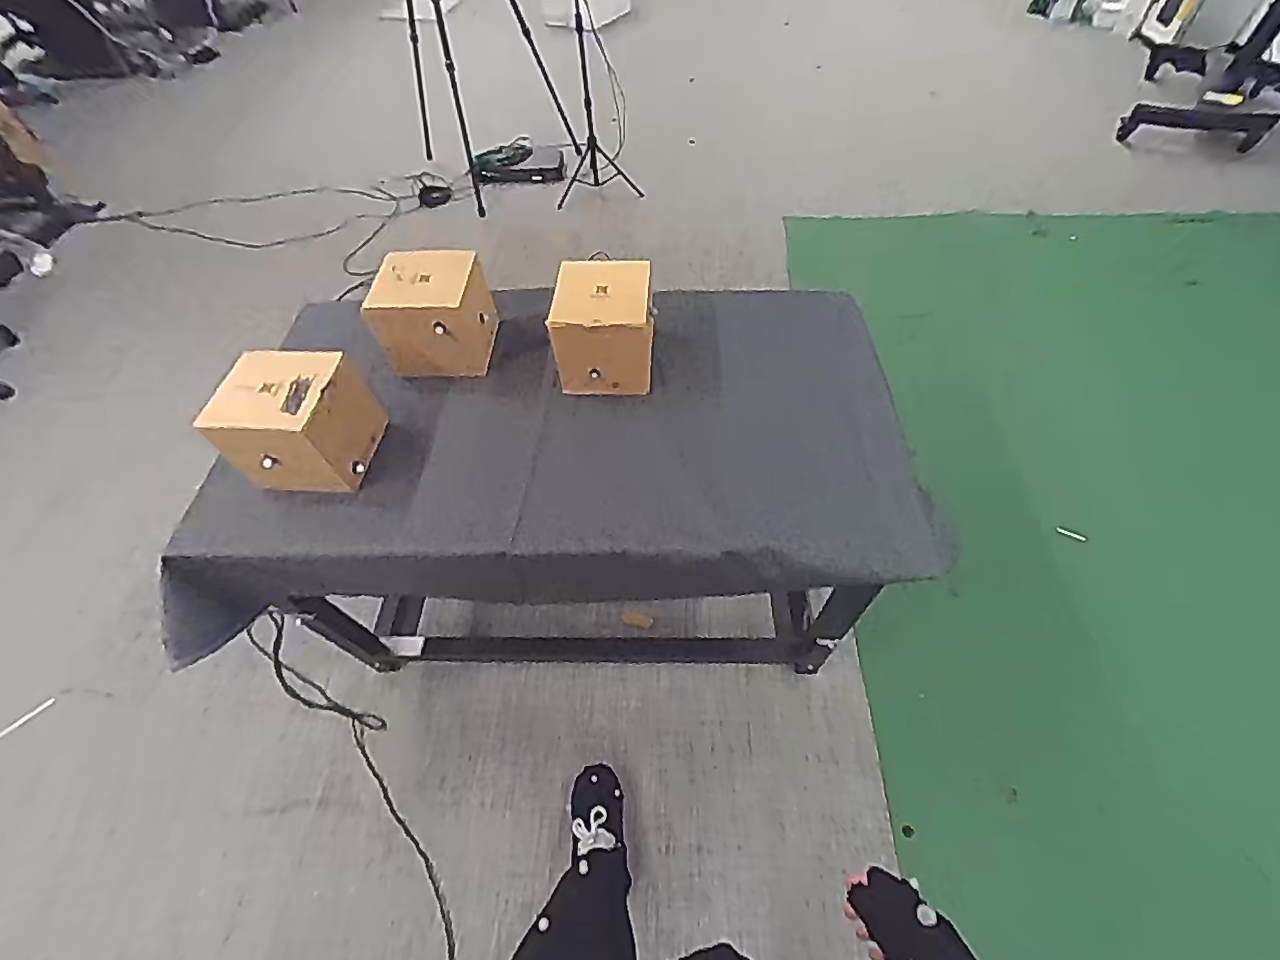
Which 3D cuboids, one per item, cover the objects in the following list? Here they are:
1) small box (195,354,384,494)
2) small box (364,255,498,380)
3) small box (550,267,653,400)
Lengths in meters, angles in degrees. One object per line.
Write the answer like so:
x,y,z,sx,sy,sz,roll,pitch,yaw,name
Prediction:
-0.560,-0.088,0.897,0.179,0.176,0.168,2,55,5,small box
-0.387,-0.308,1.040,0.179,0.176,0.168,0,56,3,small box
-0.063,-0.271,1.005,0.168,0.176,0.179,2,56,3,small box
